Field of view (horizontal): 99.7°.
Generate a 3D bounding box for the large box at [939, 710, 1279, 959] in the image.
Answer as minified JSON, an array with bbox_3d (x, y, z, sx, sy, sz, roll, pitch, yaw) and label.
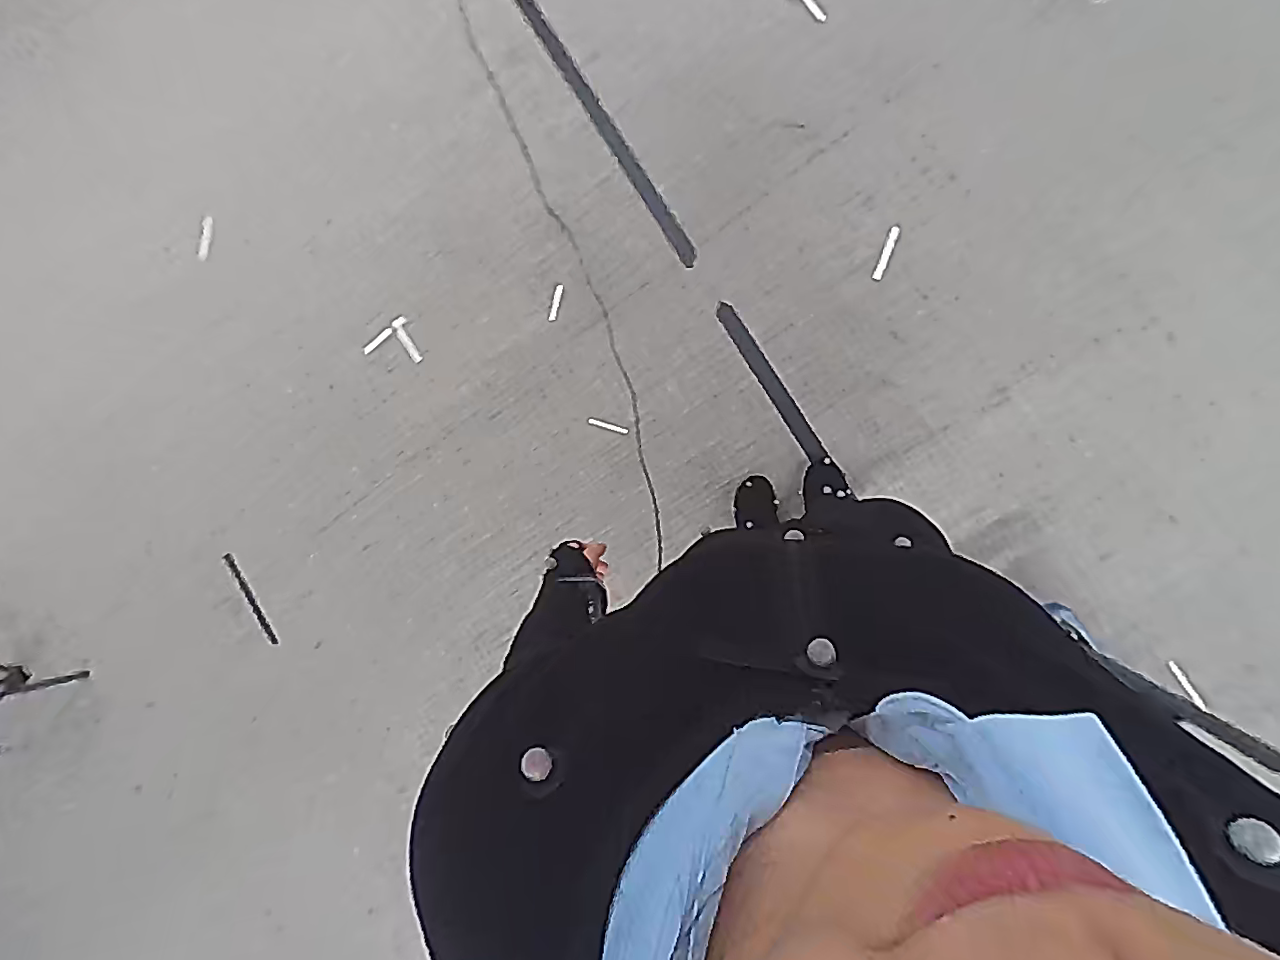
[{"bbox_3d":[0.892,0.733,1.043,0.408,0.320,0.320,-36,87,10],"label":"large box"}]
